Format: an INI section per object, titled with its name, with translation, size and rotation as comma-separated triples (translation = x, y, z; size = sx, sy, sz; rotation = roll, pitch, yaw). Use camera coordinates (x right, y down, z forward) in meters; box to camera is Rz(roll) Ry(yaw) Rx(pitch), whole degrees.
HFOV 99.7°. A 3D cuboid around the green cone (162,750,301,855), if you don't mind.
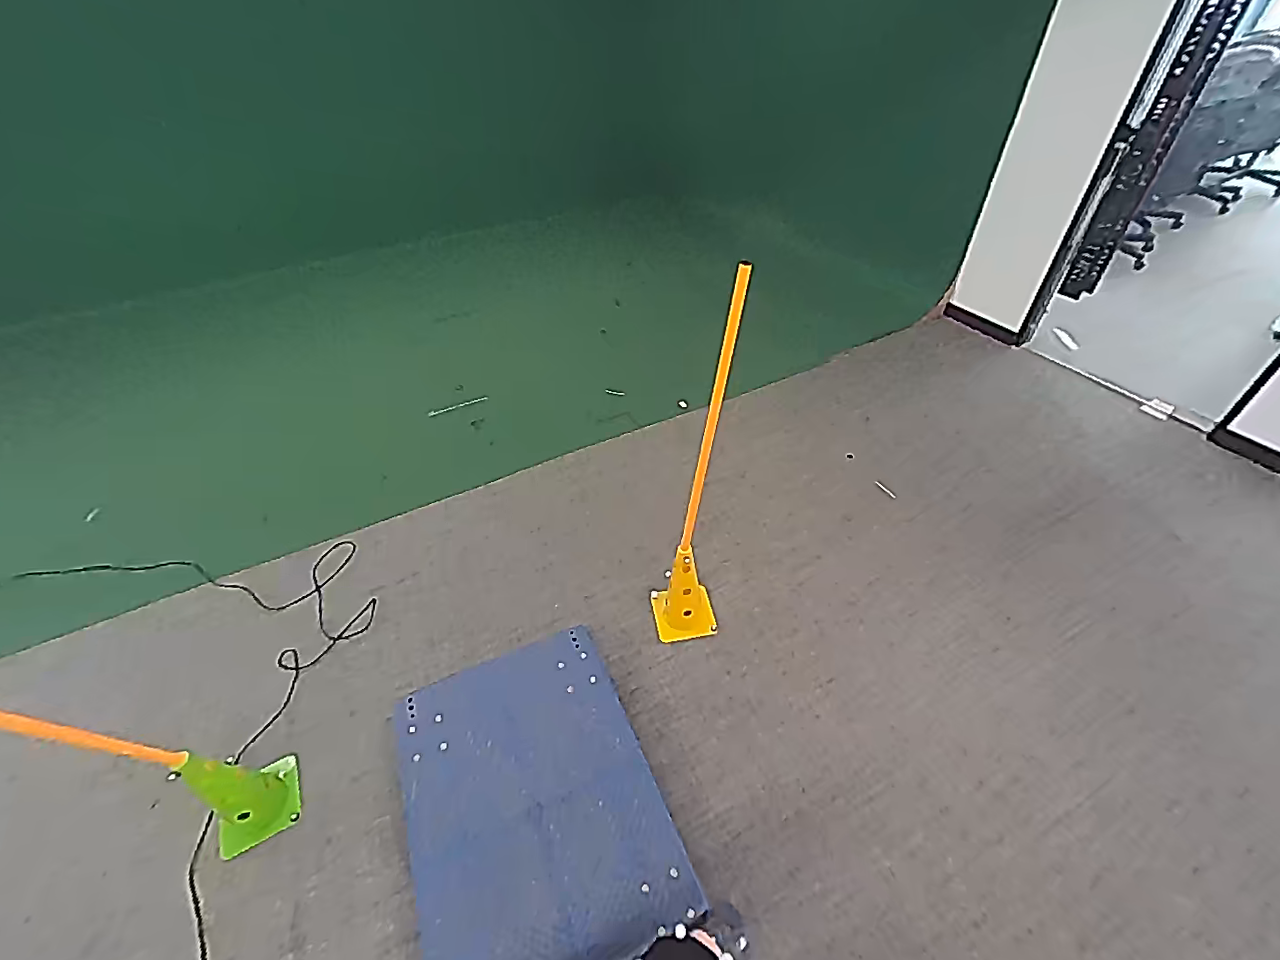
[green cone]
translation = -1.067, 0.767, 1.379
size = 0.202, 0.368, 0.200
rotation = -25, 48, -18
